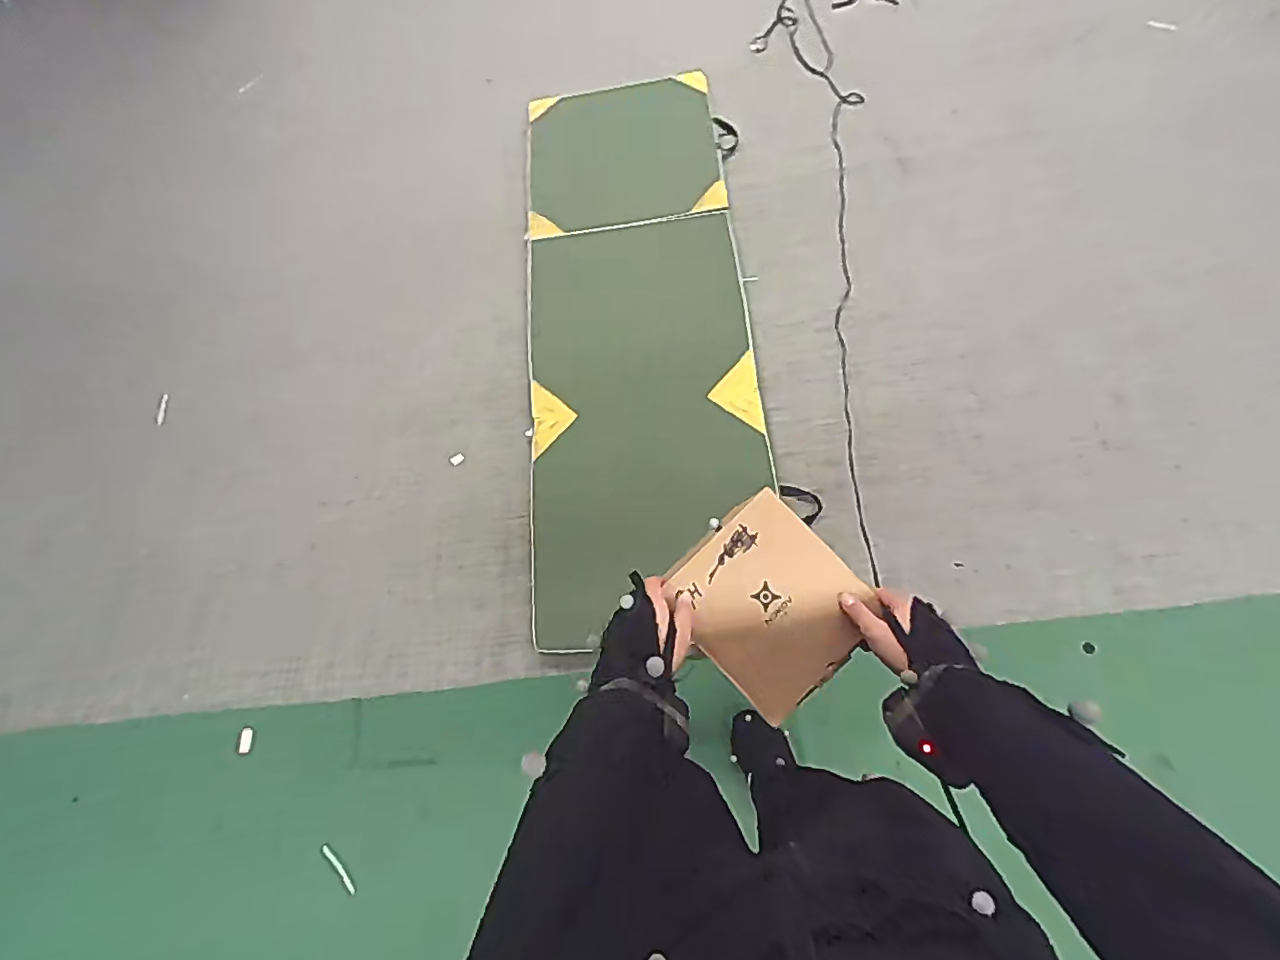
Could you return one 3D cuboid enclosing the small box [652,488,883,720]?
[{"bbox_3d":[0.131,0.132,0.623,0.168,0.176,0.179,-42,83,-6],"label":"small box"}]
